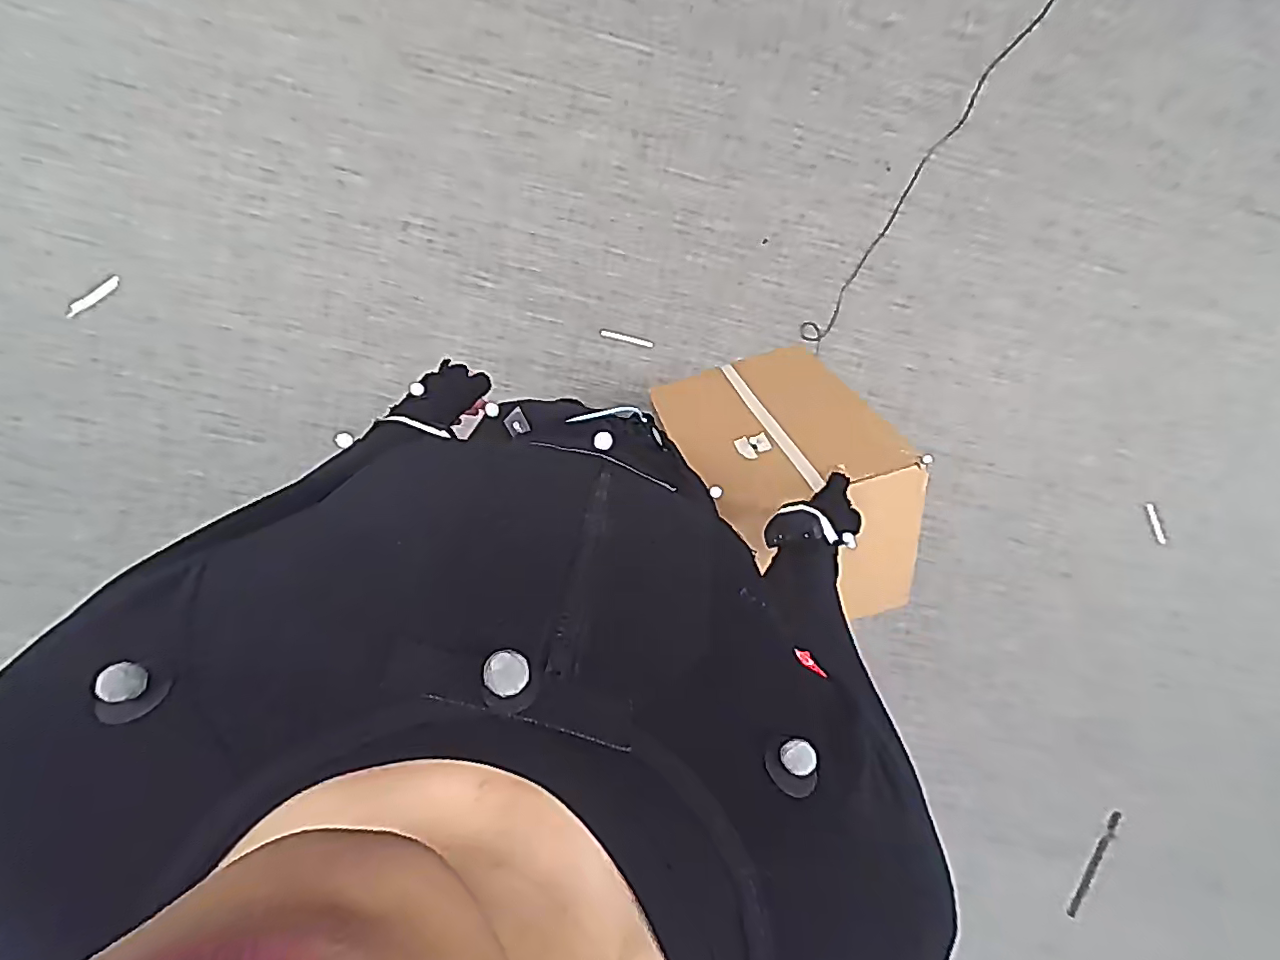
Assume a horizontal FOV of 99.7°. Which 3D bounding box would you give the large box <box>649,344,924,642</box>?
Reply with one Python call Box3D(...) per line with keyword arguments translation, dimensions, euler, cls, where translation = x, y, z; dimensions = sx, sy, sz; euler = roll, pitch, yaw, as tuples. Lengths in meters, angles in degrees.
Box3D(translation=(0.234, 0.009, 0.986), dimensions=(0.320, 0.408, 0.320), euler=(-18, 130, -1), cls="large box")
